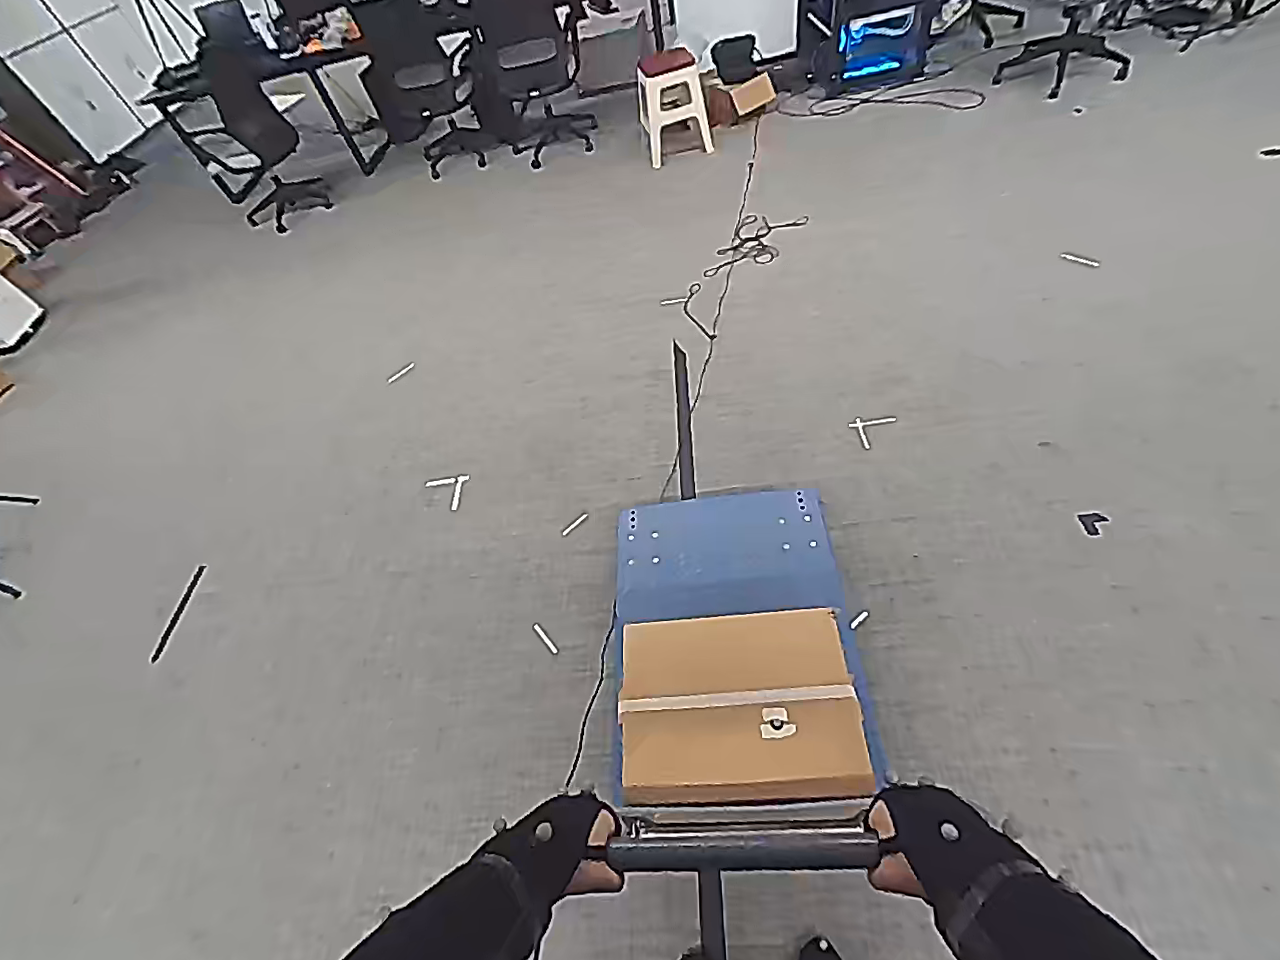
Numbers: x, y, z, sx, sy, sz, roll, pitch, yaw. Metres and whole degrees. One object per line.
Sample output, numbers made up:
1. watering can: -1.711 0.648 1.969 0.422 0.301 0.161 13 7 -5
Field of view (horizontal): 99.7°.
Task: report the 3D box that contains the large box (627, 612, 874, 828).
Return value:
1. large box: 0.197 0.489 1.083 0.408 0.320 0.320 -7 52 7
